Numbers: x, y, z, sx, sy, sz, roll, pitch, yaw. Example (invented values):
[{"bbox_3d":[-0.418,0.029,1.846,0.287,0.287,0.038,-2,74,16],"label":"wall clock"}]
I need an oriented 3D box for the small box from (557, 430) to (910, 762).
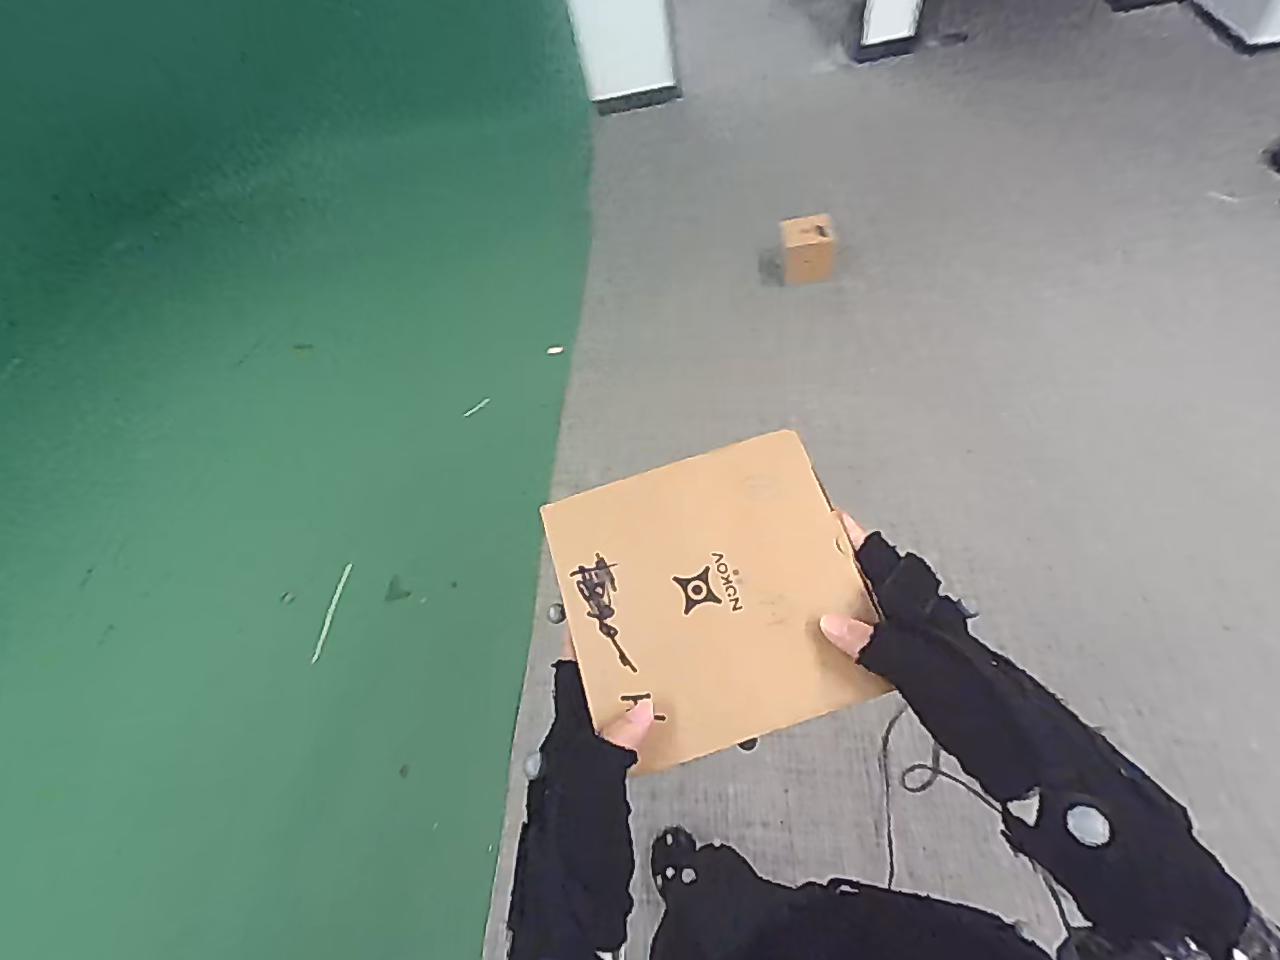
[{"bbox_3d":[0.052,0.089,0.399,0.179,0.176,0.168,-15,67,-3],"label":"small box"}]

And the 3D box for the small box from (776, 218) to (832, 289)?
[{"bbox_3d":[0.606,-0.841,2.014,0.179,0.176,0.168,-5,57,11],"label":"small box"}]
